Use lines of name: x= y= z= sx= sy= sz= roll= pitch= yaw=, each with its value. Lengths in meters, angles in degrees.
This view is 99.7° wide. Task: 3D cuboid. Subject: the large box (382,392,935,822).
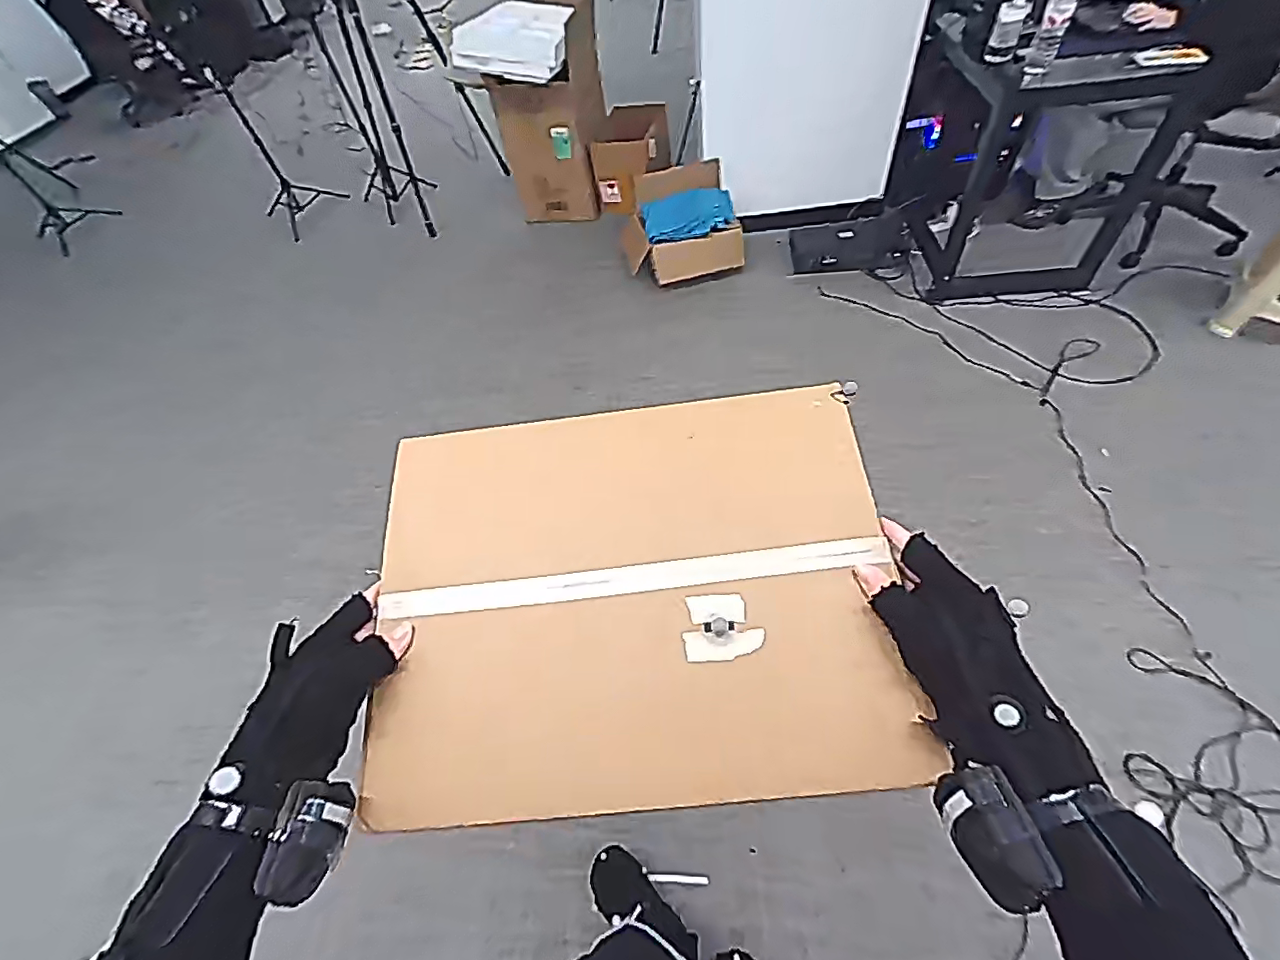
large box: x=0.007 y=0.145 z=0.577 sx=0.408 sy=0.320 sz=0.320 roll=-7 pitch=65 yaw=3
